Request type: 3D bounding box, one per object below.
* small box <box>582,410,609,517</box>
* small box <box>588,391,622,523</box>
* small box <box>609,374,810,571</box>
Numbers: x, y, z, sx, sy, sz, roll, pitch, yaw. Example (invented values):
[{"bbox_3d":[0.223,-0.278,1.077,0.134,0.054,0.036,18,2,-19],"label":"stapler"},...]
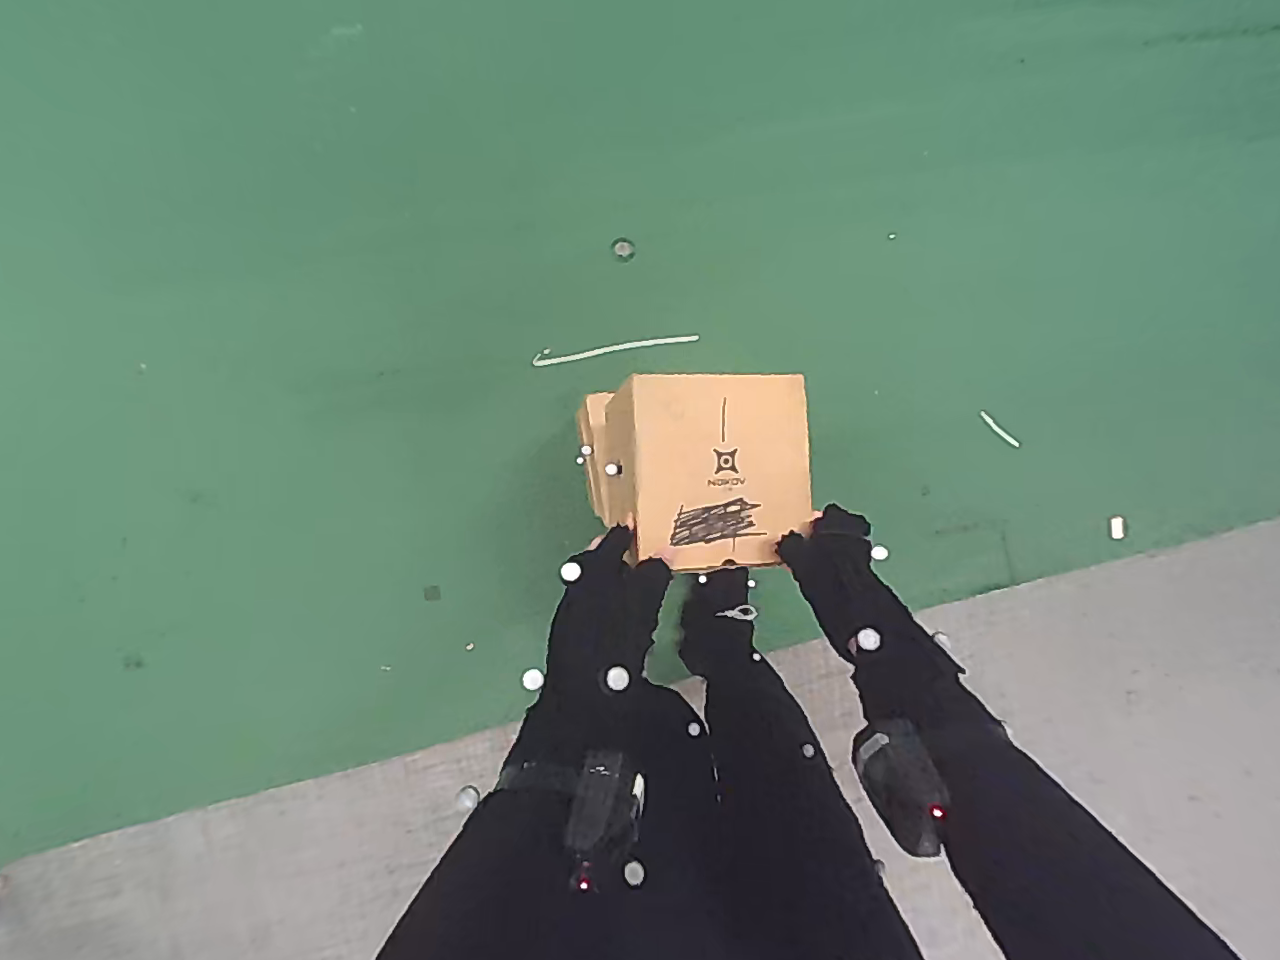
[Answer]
[{"bbox_3d":[-0.007,-0.043,0.954,0.168,0.176,0.179,-10,96,-7],"label":"small box"},{"bbox_3d":[0.018,-0.039,0.792,0.168,0.176,0.179,-9,94,-7],"label":"small box"},{"bbox_3d":[0.061,-0.006,0.568,0.168,0.176,0.179,-2,88,-12],"label":"small box"}]
